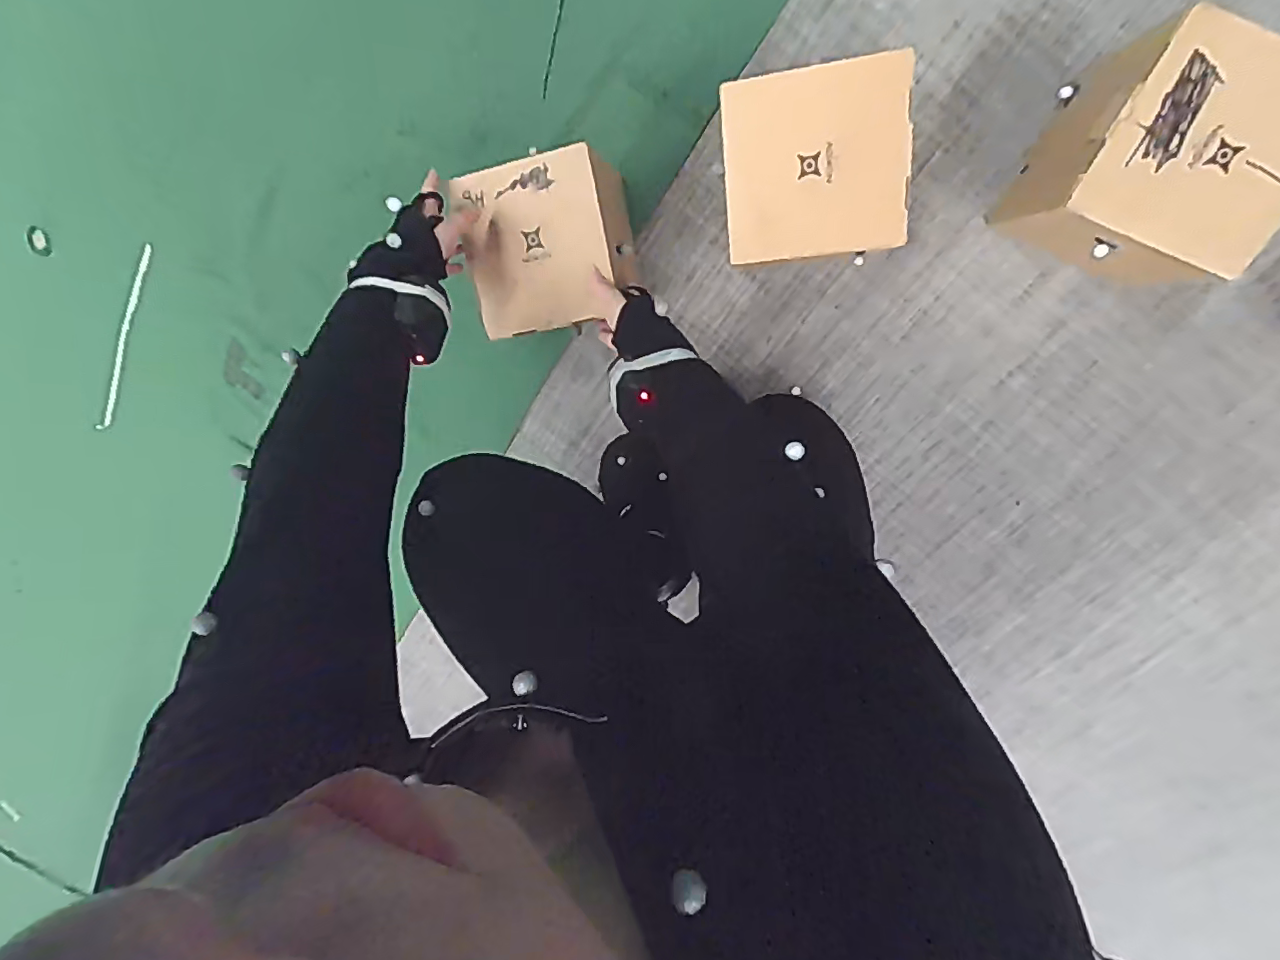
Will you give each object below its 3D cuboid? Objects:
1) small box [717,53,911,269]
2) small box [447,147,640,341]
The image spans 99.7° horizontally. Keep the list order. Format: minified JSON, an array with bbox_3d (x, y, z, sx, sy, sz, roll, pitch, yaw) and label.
[{"bbox_3d":[0.182,-0.332,0.602,0.179,0.176,0.168,-3,110,11],"label":"small box"},{"bbox_3d":[-0.104,-0.282,0.671,0.168,0.176,0.179,-7,109,12],"label":"small box"}]
